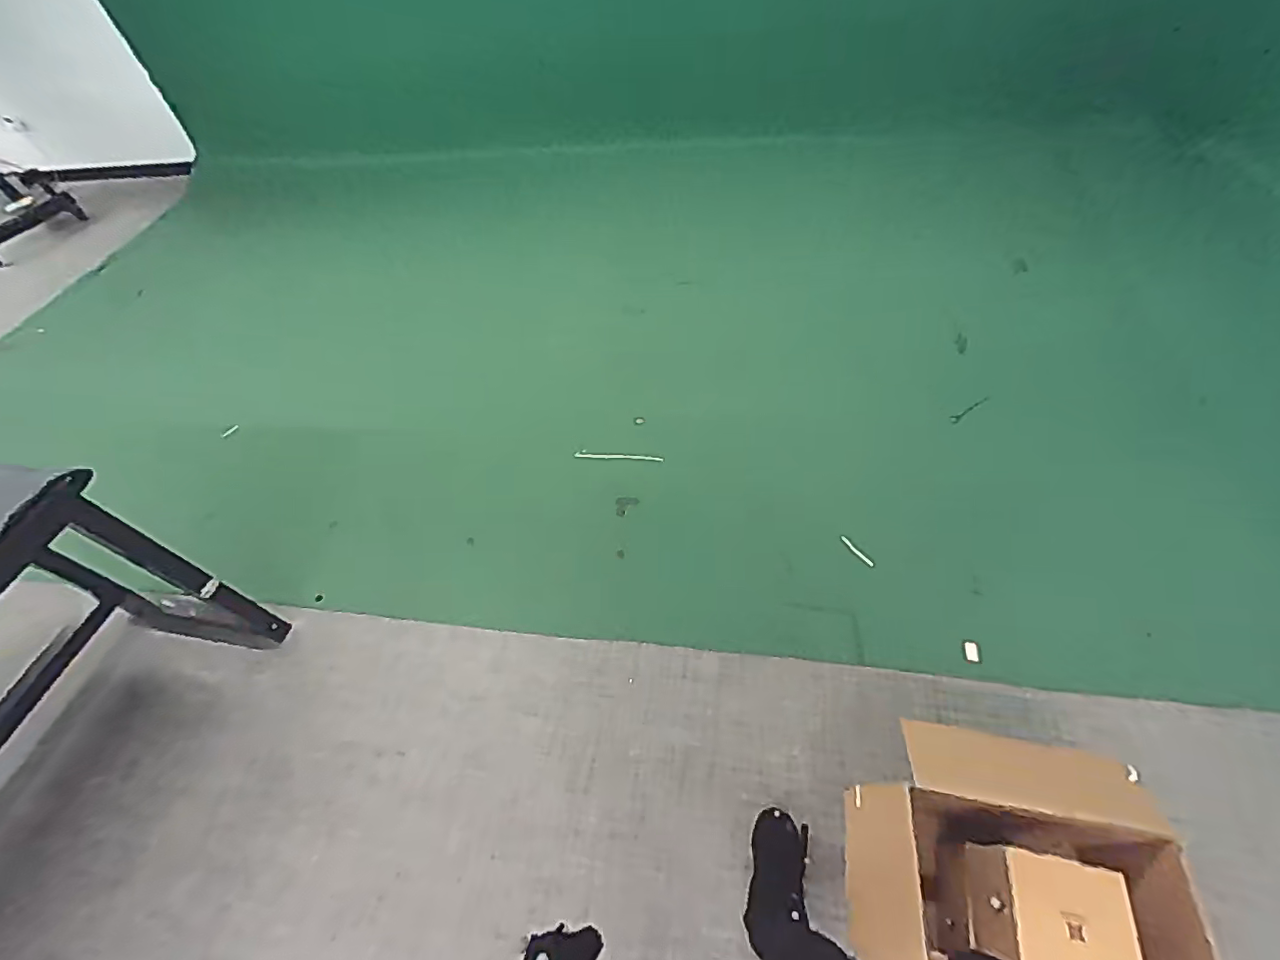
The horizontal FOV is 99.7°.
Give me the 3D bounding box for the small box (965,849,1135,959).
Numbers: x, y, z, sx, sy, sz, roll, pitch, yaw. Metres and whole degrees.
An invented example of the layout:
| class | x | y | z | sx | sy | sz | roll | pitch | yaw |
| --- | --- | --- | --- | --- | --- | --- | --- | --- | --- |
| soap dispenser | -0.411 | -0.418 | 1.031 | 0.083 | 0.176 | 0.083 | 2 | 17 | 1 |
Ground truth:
| class | x | y | z | sx | sy | sz | roll | pitch | yaw |
| --- | --- | --- | --- | --- | --- | --- | --- | --- | --- |
| small box | 0.652 | 0.724 | 0.875 | 0.168 | 0.176 | 0.179 | 7 | 55 | 11 |
